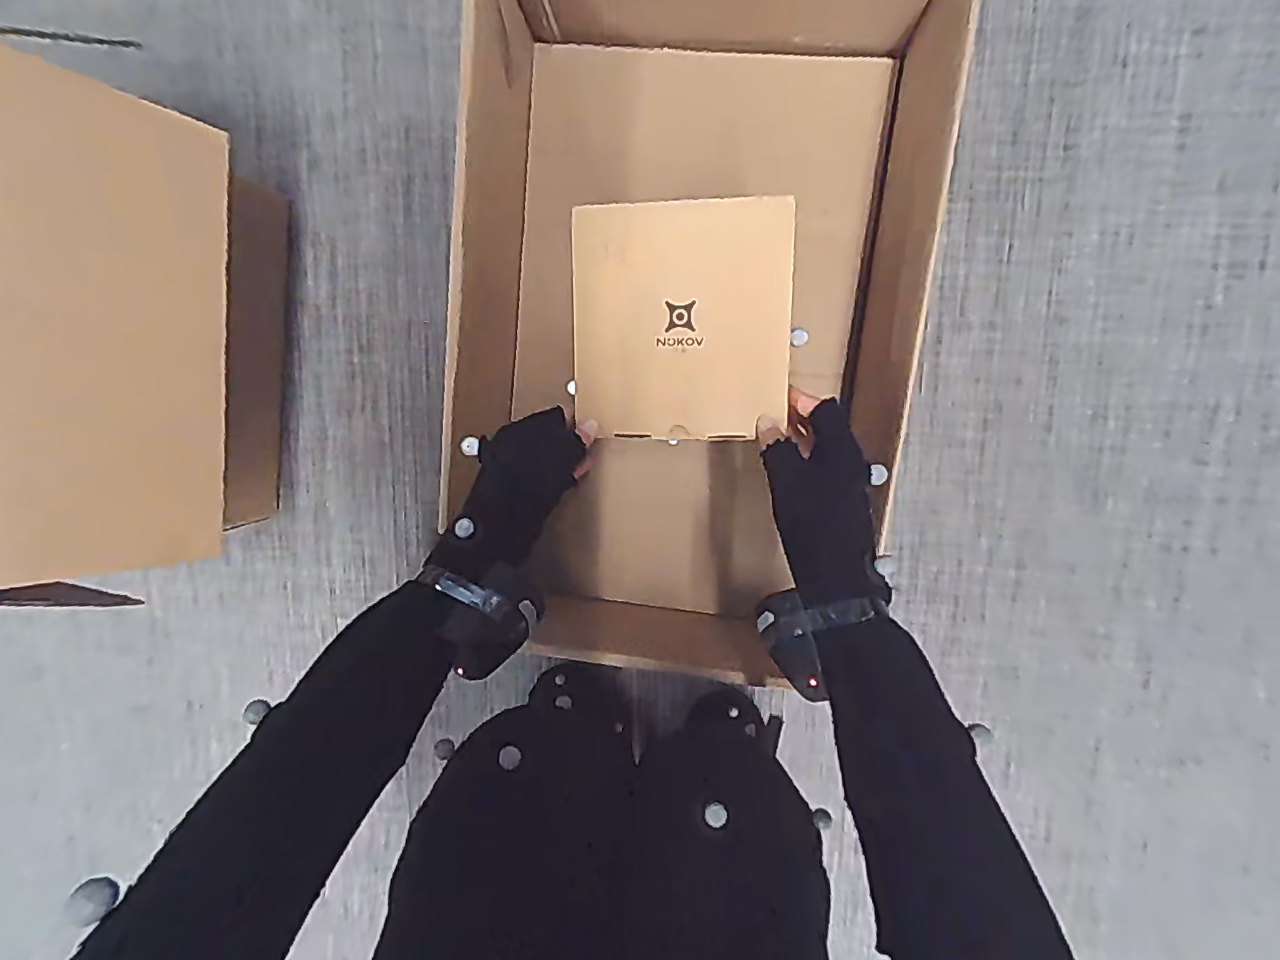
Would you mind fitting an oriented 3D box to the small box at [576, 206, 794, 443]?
[{"bbox_3d":[0.040,-0.127,0.493,0.168,0.176,0.179,1,98,8],"label":"small box"}]
